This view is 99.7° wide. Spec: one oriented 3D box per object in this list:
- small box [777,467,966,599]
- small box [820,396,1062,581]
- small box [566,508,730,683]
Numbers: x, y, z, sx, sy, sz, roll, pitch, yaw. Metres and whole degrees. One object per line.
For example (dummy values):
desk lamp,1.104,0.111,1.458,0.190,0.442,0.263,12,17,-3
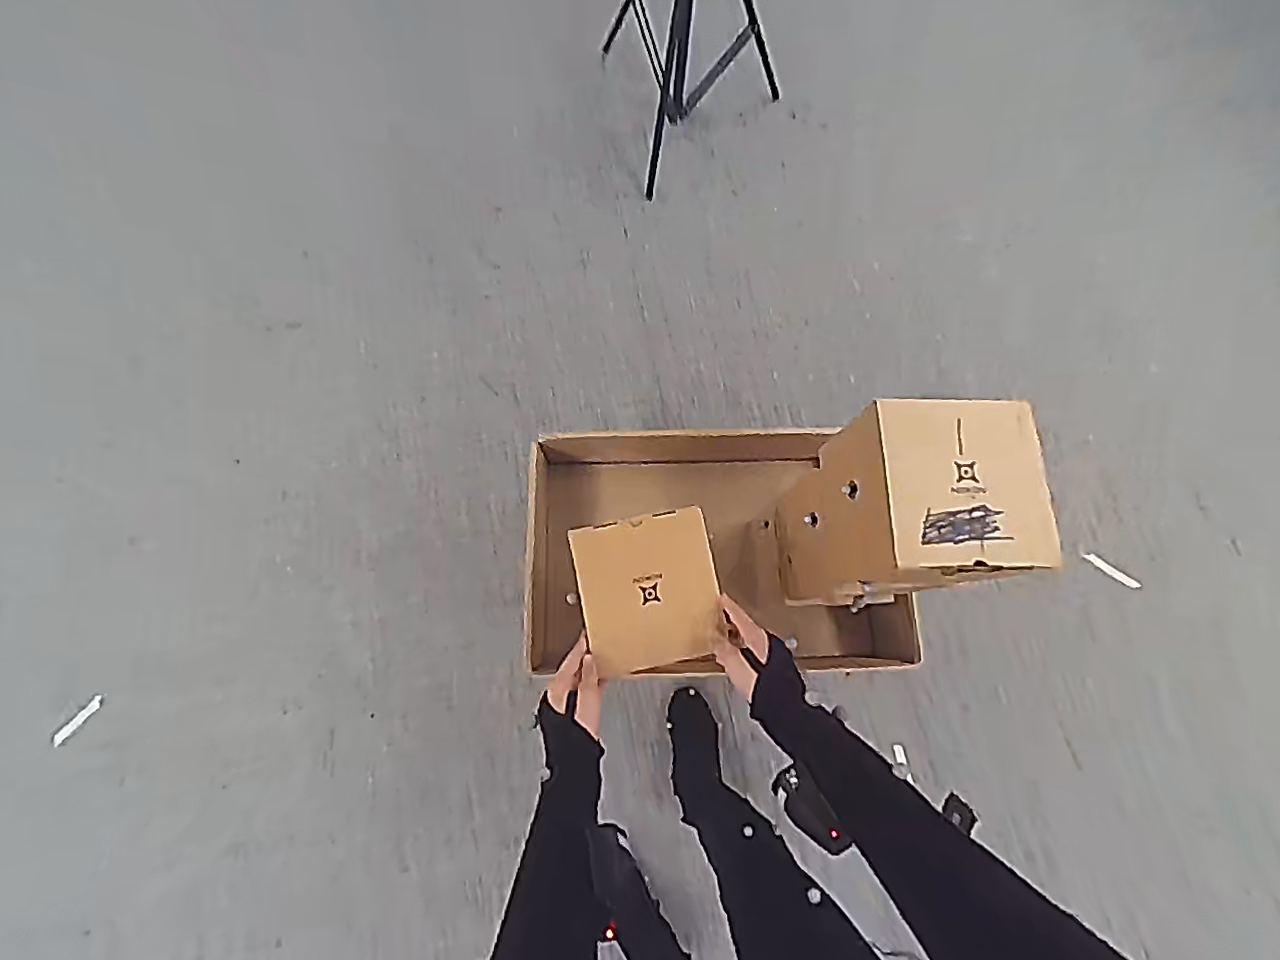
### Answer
small box,0.311,0.078,0.762,0.179,0.176,0.168,-3,75,-4
small box,0.315,0.020,0.607,0.168,0.176,0.179,1,74,-2
small box,0.005,0.144,0.706,0.168,0.176,0.179,-12,81,-6
